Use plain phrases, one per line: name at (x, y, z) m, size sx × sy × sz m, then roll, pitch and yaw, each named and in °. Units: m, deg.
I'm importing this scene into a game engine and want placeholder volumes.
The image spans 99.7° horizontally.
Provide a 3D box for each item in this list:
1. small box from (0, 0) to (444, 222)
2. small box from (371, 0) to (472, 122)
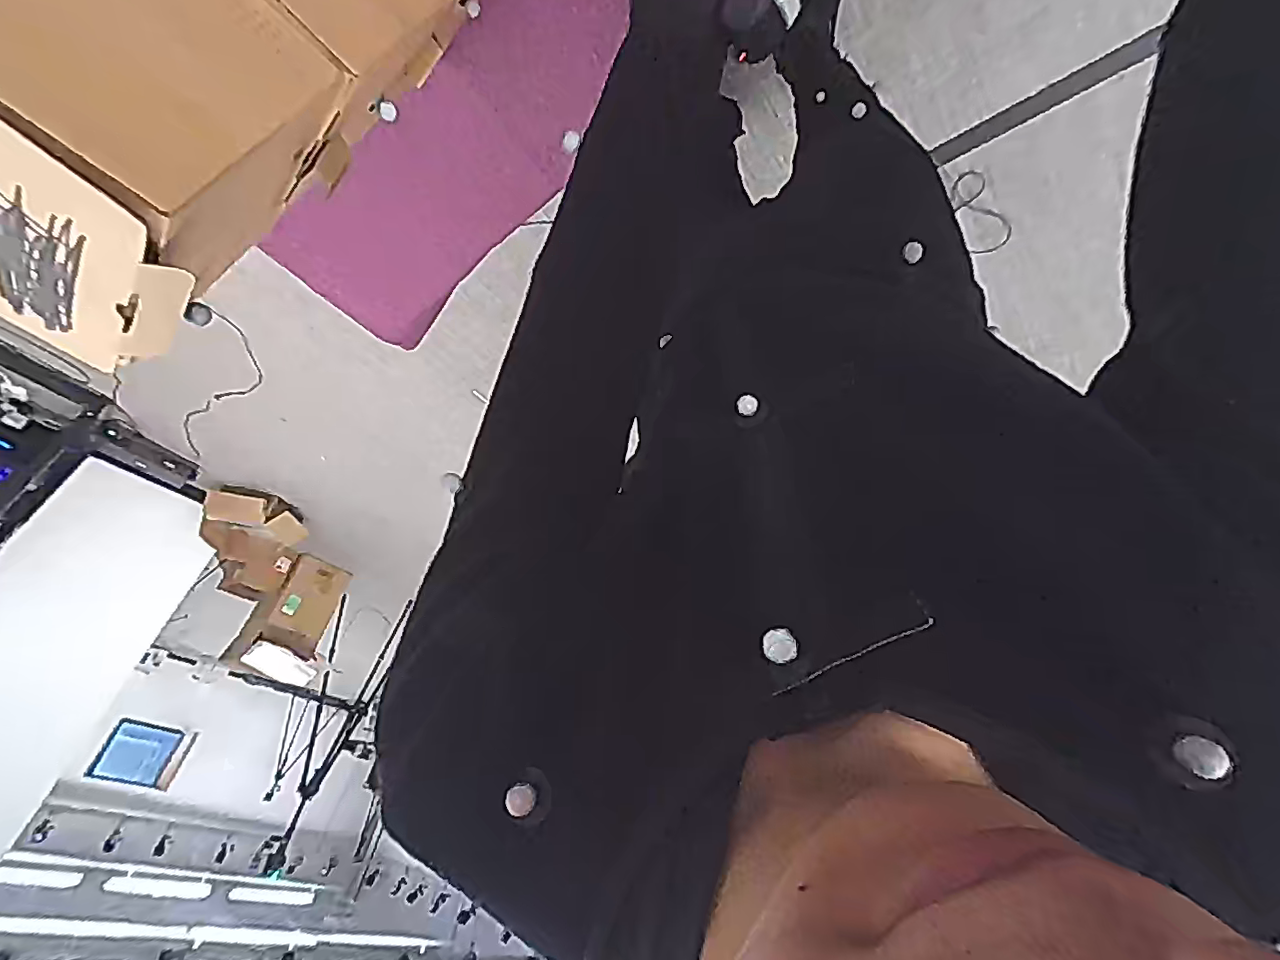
small box at (-0.275, -0.333, 0.376) m, size 0.168 × 0.176 × 0.179 m, roll -19°, pitch 136°, yaw 38°
small box at (-0.239, -0.469, 0.461) m, size 0.168 × 0.176 × 0.179 m, roll -22°, pitch 134°, yaw 39°
